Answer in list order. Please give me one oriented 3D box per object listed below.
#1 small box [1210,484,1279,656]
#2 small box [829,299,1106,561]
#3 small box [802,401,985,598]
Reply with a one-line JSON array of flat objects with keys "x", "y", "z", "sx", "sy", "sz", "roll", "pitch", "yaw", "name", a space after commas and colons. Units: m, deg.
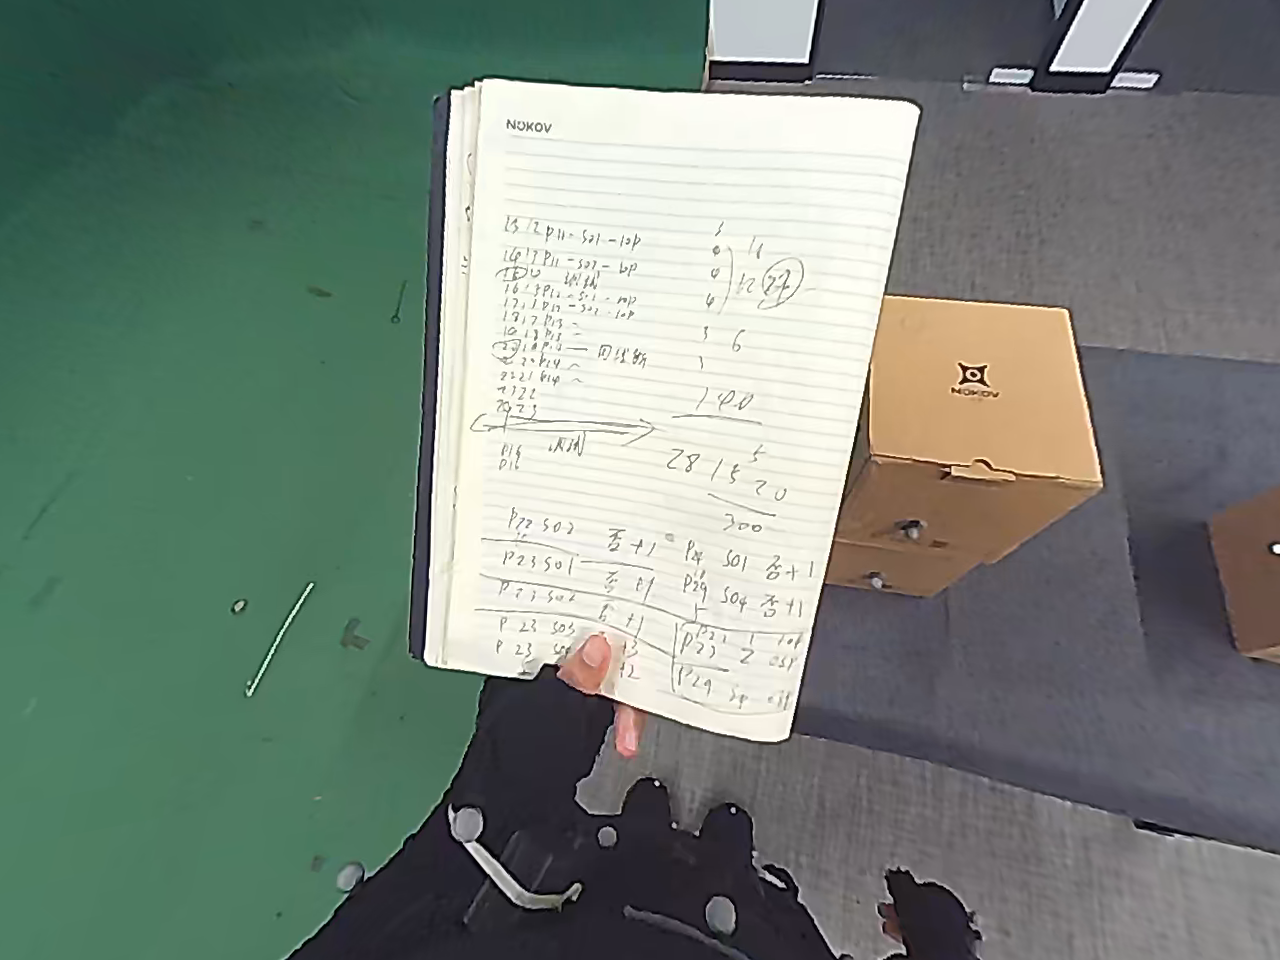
[{"x": 0.781, "y": 0.101, "z": 0.574, "sx": 0.168, "sy": 0.176, "sz": 0.179, "roll": 10, "pitch": 62, "yaw": 11, "name": "small box"}, {"x": 0.283, "y": -0.042, "z": 0.516, "sx": 0.168, "sy": 0.176, "sz": 0.179, "roll": 7, "pitch": 63, "yaw": 9, "name": "small box"}, {"x": 0.298, "y": 0.027, "z": 0.662, "sx": 0.168, "sy": 0.176, "sz": 0.179, "roll": 6, "pitch": 62, "yaw": 9, "name": "small box"}]
